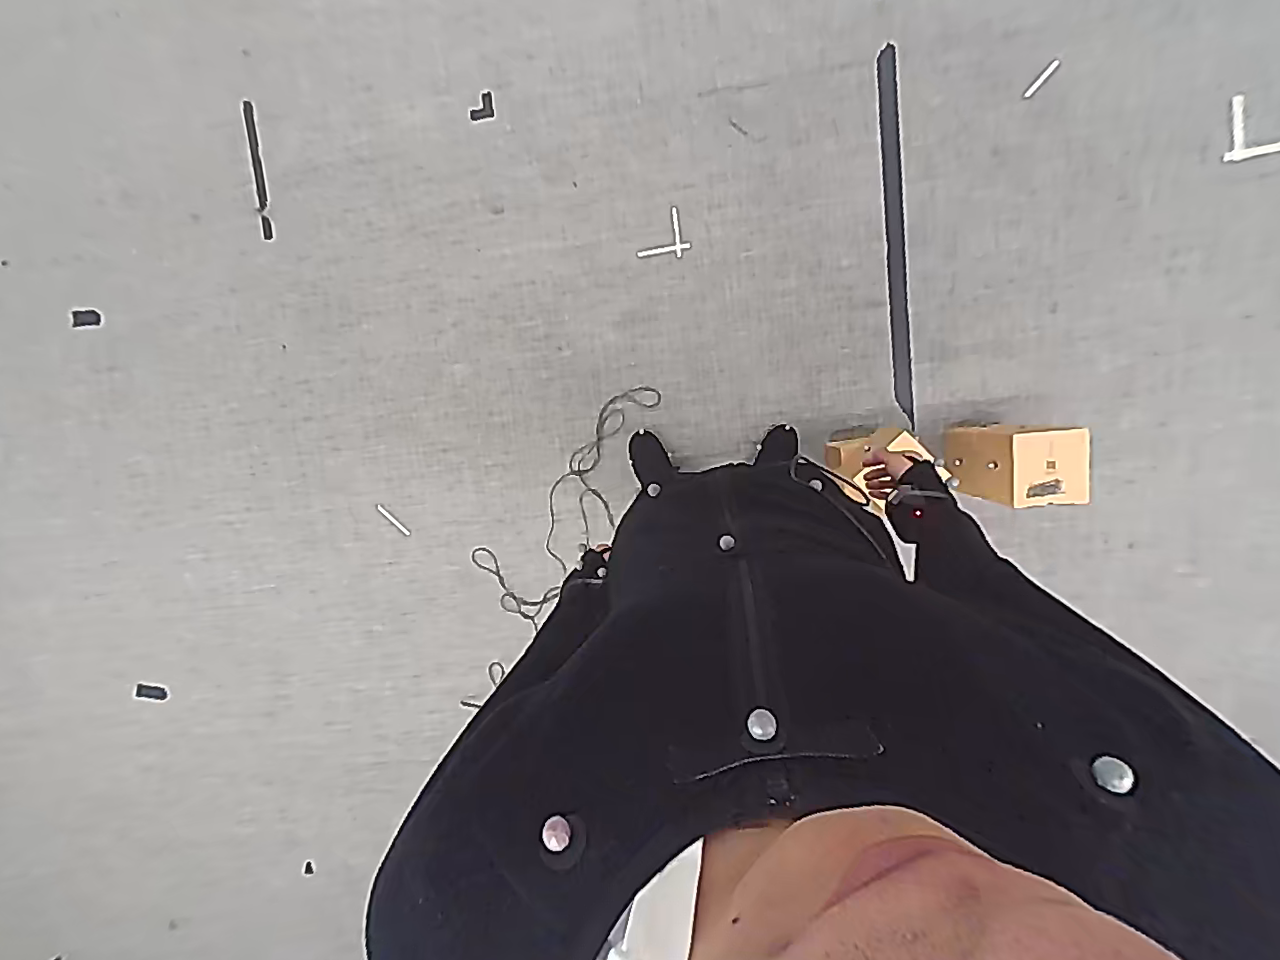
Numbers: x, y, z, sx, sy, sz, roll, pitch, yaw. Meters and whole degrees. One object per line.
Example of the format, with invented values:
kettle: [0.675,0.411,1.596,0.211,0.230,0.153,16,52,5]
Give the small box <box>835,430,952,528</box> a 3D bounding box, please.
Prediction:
small box: [0.620,-0.010,1.352,0.179,0.176,0.168,44,99,-2]

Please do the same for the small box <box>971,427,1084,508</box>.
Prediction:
small box: [0.936,-0.035,1.318,0.168,0.176,0.179,-5,96,5]

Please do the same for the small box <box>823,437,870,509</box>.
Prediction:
small box: [0.623,-0.025,1.516,0.168,0.176,0.179,-9,97,6]
